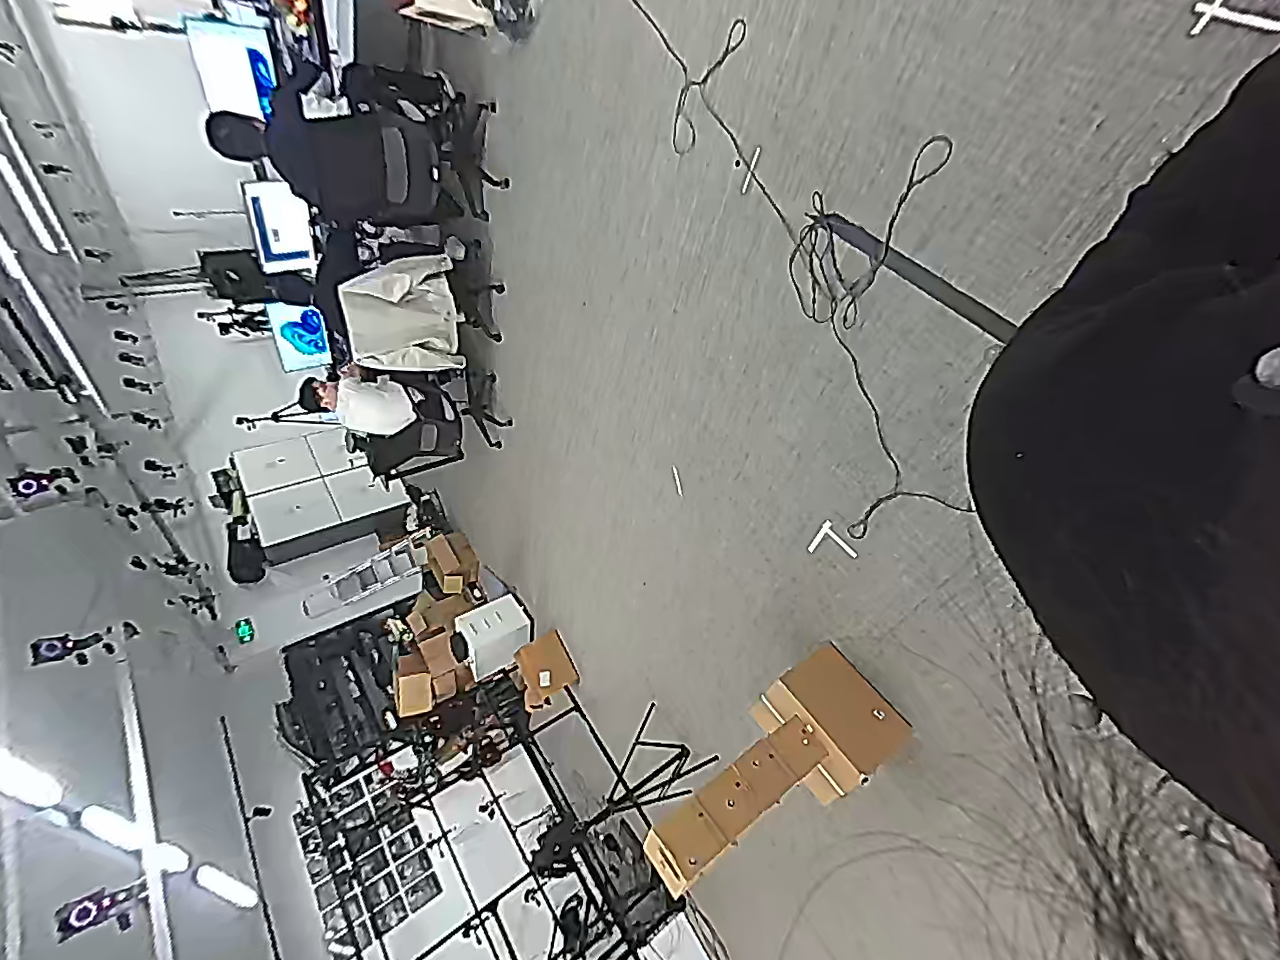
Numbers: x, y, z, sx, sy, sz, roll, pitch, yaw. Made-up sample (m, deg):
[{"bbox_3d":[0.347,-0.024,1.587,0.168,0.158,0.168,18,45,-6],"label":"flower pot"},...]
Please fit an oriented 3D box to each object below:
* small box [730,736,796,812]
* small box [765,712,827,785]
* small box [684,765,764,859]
[{"bbox_3d":[0.398,1.002,1.818,0.168,0.176,0.179,48,142,31],"label":"small box"},{"bbox_3d":[0.527,0.960,1.907,0.168,0.176,0.179,48,141,29],"label":"small box"},{"bbox_3d":[0.269,1.055,1.730,0.168,0.176,0.179,45,140,35],"label":"small box"}]
